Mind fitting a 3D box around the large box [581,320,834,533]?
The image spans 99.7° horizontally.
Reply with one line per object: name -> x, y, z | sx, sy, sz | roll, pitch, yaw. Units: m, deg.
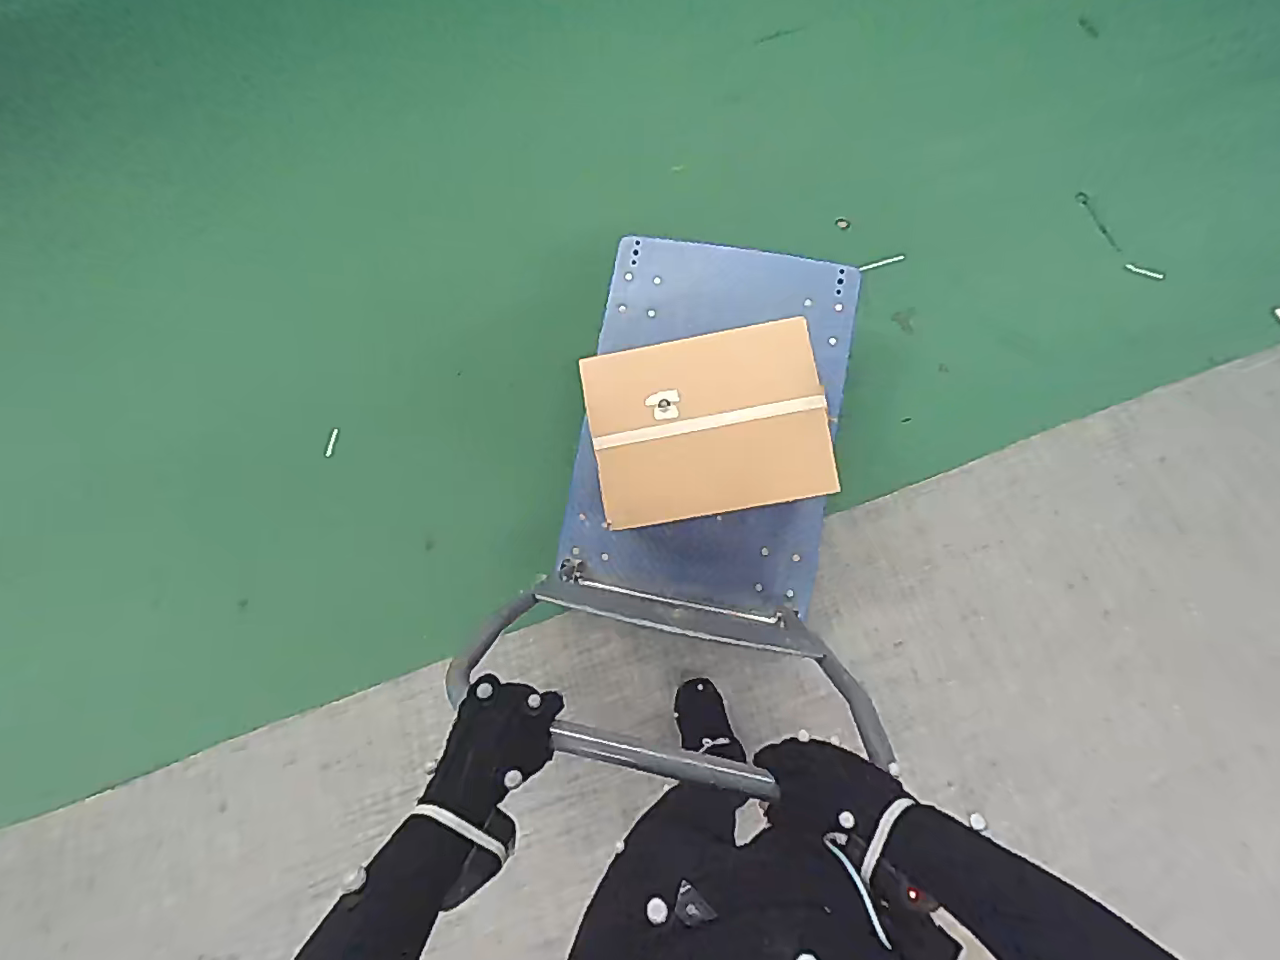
large box -> 0.129, -0.088, 1.101 | 0.408, 0.320, 0.320 | -11, 85, 5
